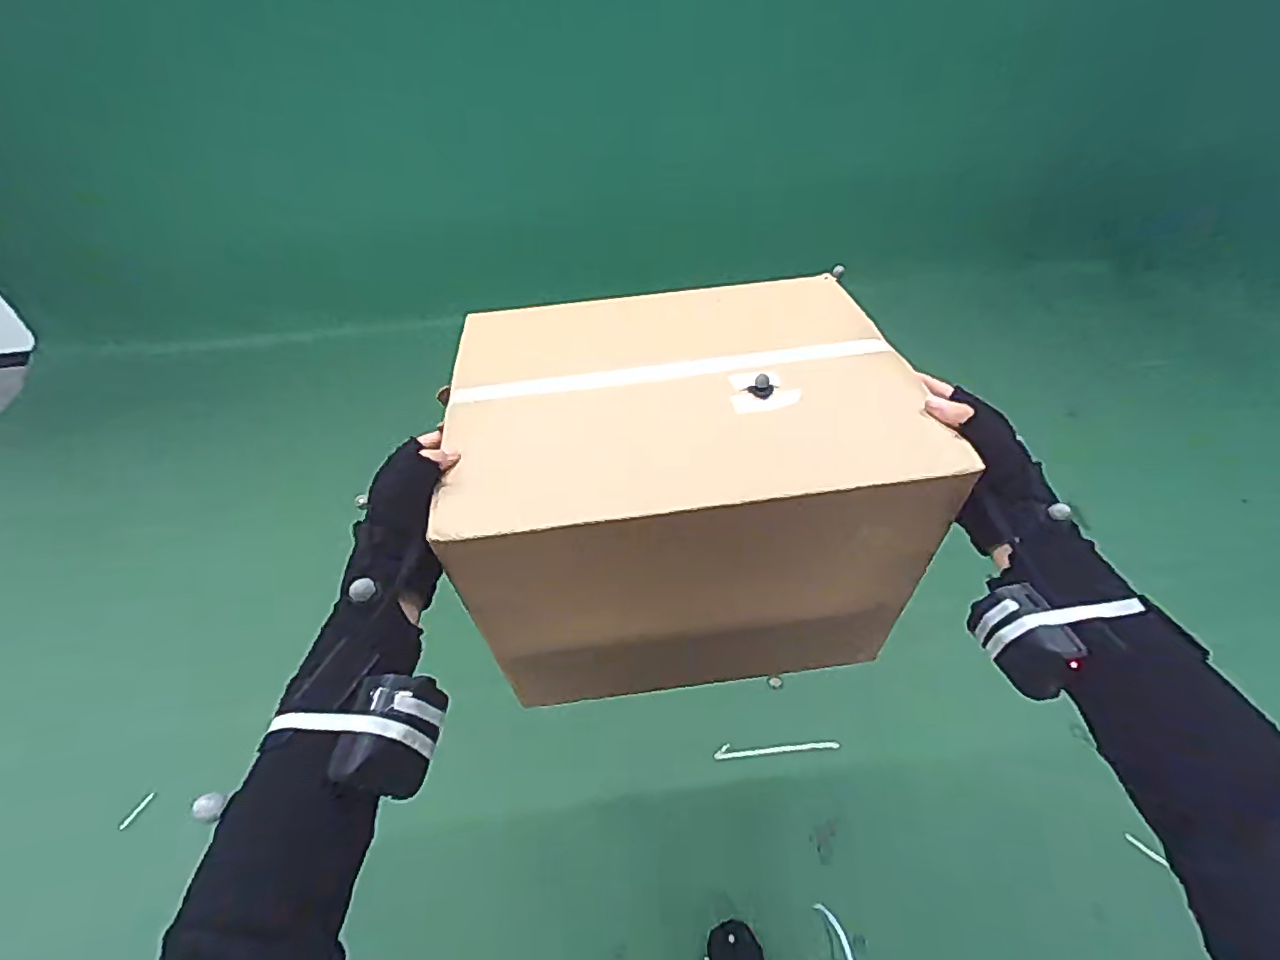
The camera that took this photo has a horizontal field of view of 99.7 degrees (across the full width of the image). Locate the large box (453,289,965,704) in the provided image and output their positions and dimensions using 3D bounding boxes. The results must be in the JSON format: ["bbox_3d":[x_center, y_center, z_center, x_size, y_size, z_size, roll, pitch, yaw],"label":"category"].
[{"bbox_3d":[0.043,0.017,0.611,0.408,0.320,0.320,-7,47,-3],"label":"large box"}]
